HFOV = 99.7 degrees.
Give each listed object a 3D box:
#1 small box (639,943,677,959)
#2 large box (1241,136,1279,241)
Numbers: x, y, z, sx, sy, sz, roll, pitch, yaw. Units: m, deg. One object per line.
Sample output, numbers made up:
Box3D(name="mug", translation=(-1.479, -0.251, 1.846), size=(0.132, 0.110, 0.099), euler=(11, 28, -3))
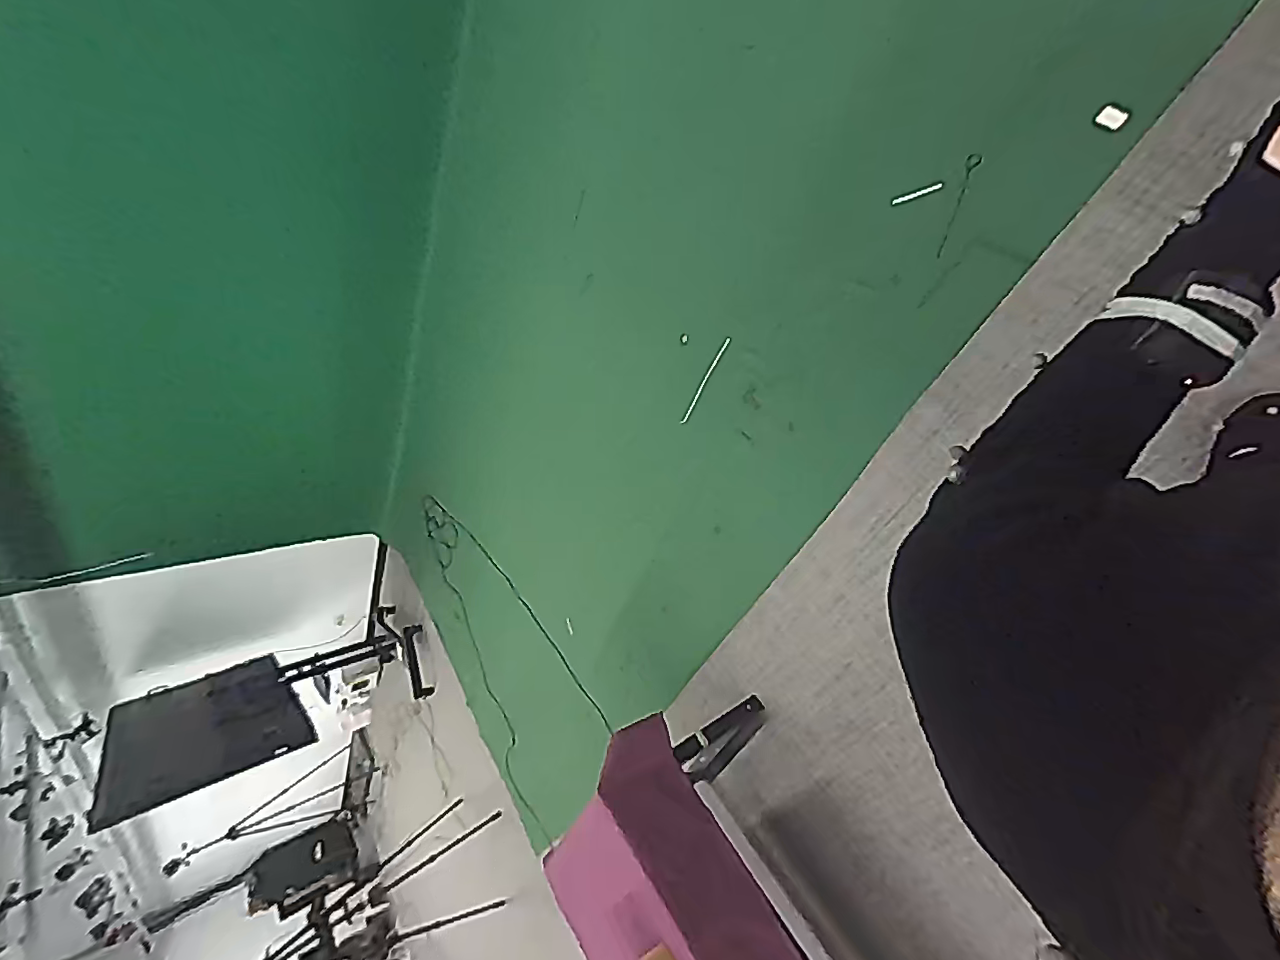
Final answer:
Box3D(name="small box", translation=(0.024, 1.290, 1.323), size=(0.168, 0.176, 0.179), euler=(49, 130, 31))
Box3D(name="large box", translation=(1.144, -0.500, 0.706), size=(0.320, 0.320, 0.408), euler=(49, 129, 30))
